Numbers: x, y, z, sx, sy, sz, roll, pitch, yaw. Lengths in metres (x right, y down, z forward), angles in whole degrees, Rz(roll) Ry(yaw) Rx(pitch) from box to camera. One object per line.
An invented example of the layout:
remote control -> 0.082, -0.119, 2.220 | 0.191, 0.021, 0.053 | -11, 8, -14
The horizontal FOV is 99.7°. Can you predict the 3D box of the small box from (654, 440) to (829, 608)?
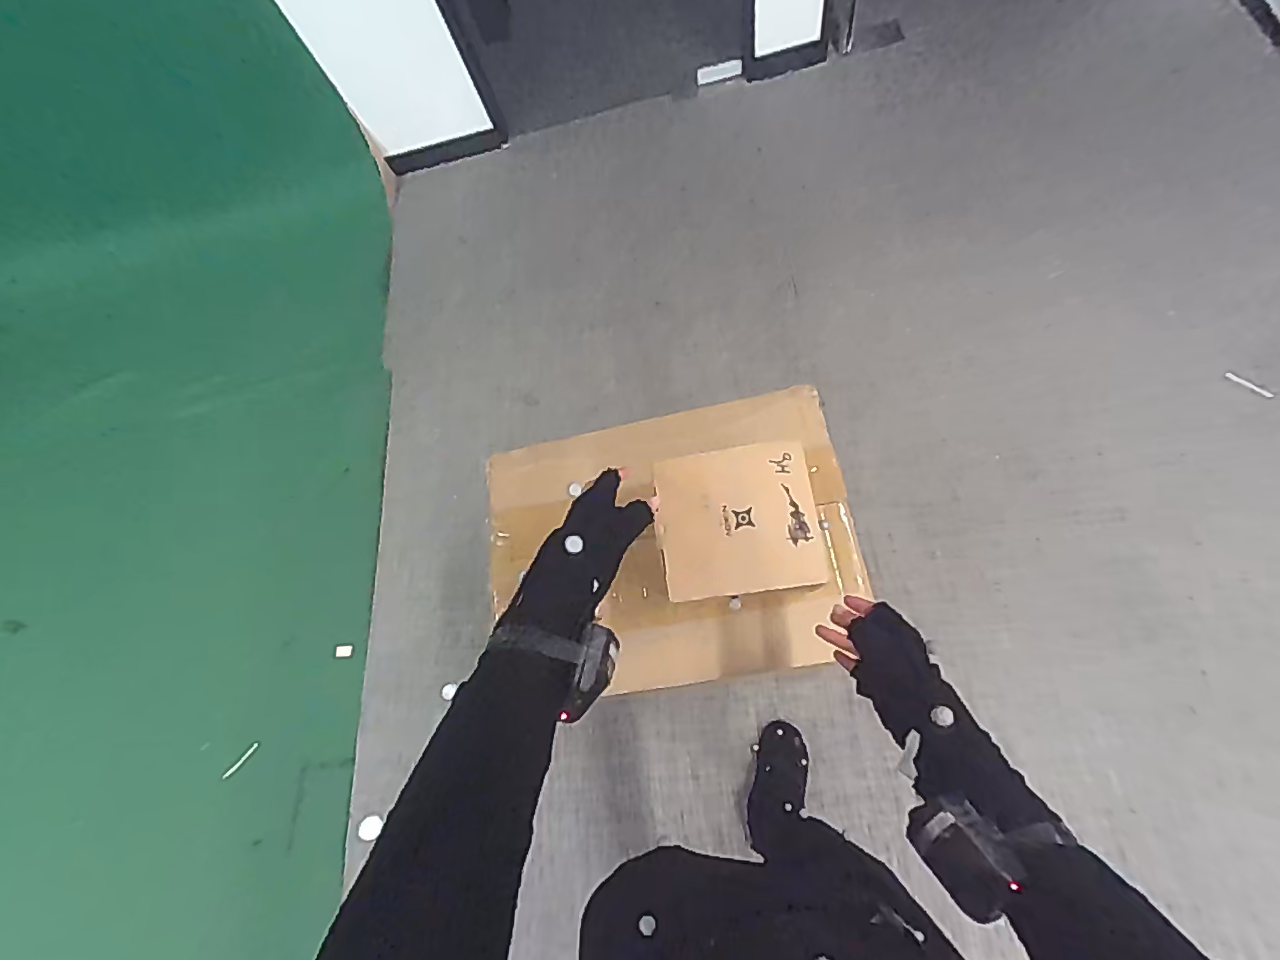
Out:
small box -> 0.124, 0.066, 0.680 | 0.179, 0.176, 0.168 | -9, 73, 8
